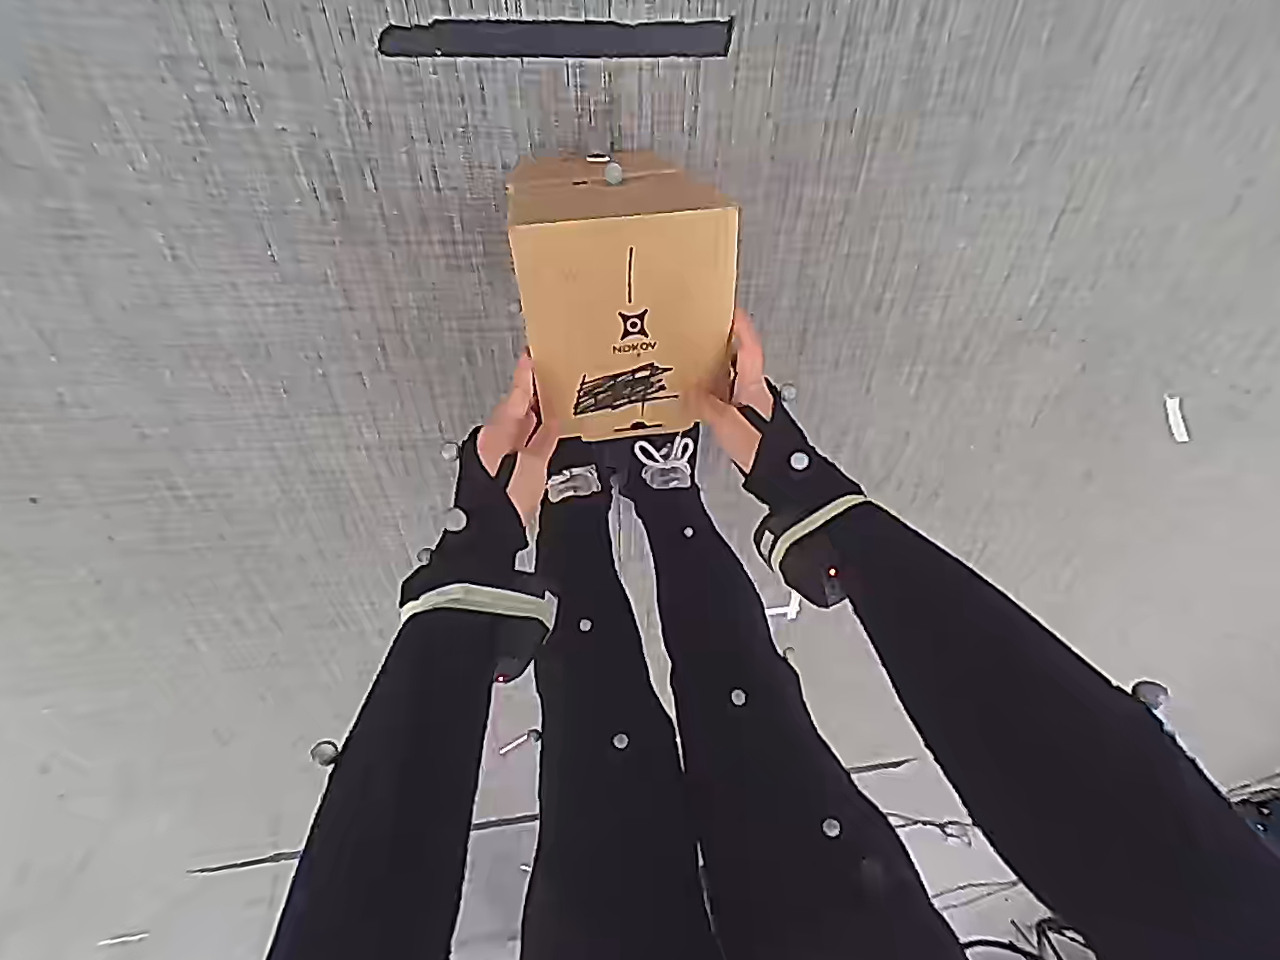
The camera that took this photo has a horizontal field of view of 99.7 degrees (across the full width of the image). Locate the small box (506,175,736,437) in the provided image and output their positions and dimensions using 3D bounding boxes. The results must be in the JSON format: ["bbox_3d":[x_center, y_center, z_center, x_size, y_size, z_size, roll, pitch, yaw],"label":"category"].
[{"bbox_3d":[-0.021,-0.162,0.491,0.168,0.176,0.179,-7,127,-6],"label":"small box"}]

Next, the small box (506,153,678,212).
[{"bbox_3d":[-0.051,-0.261,0.620,0.168,0.176,0.179,-9,127,-5],"label":"small box"}]
